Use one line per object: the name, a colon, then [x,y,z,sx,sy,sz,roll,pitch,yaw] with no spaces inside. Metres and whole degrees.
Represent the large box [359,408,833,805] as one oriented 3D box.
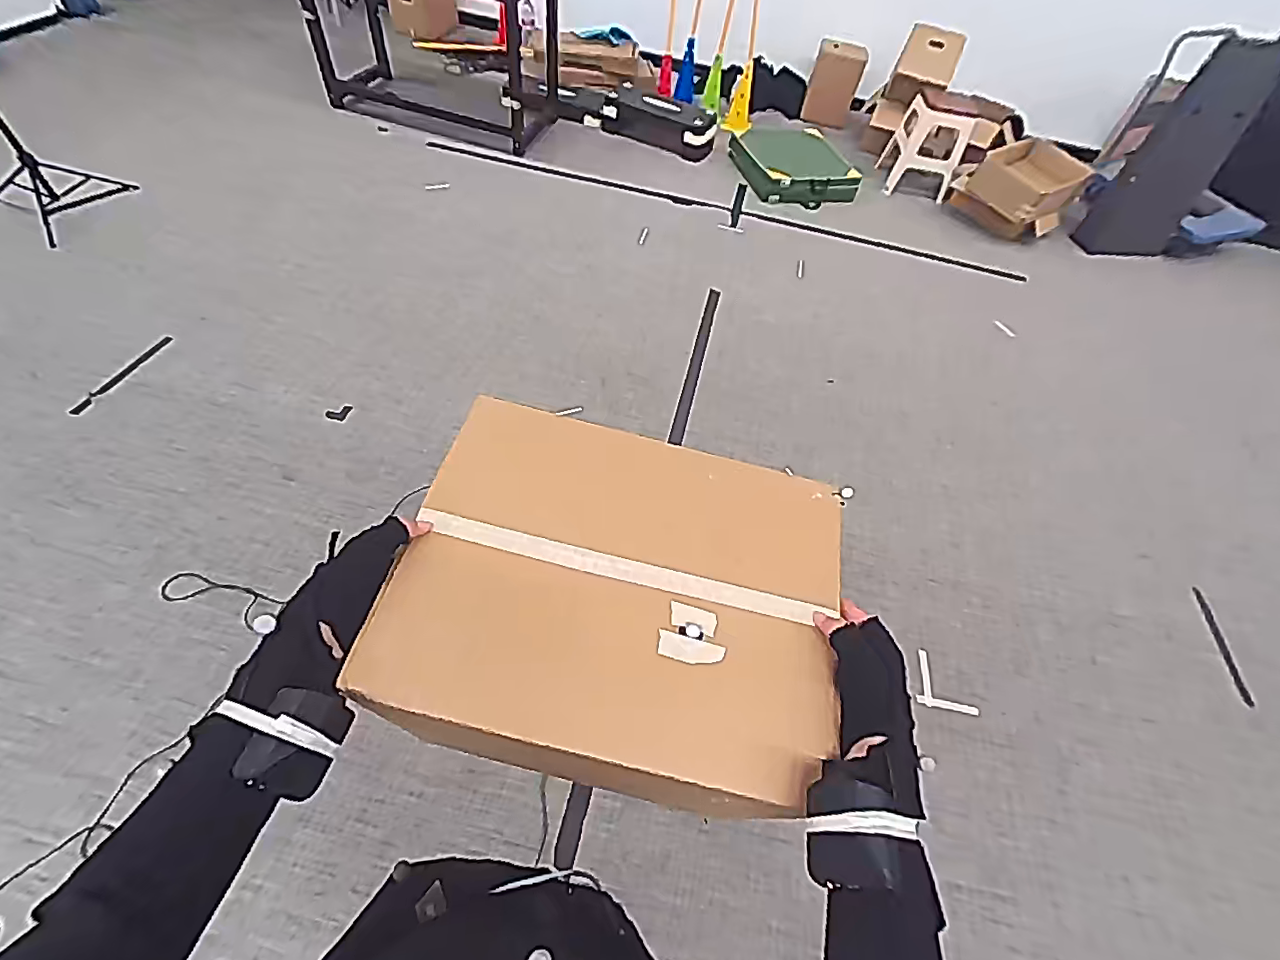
large box: [-0.031,0.167,0.641,0.408,0.320,0.320,14,58,-1]
